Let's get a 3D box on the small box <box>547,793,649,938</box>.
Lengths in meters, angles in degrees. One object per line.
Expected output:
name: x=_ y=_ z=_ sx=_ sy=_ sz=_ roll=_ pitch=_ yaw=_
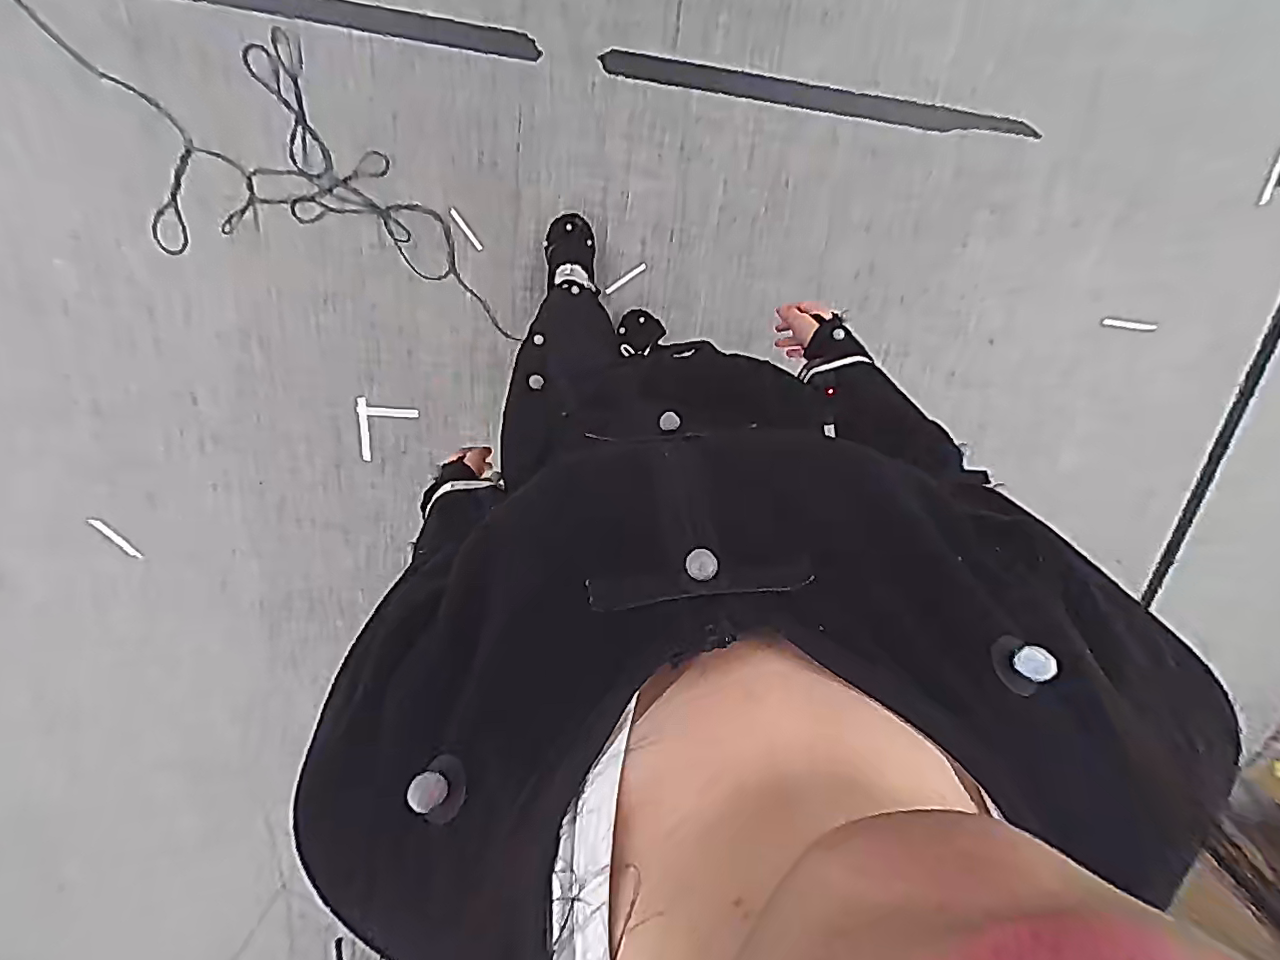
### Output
small box: x=-0.085 y=0.766 z=1.085 sx=0.168 sy=0.176 sz=0.179 roll=10 pitch=108 yaw=-6
